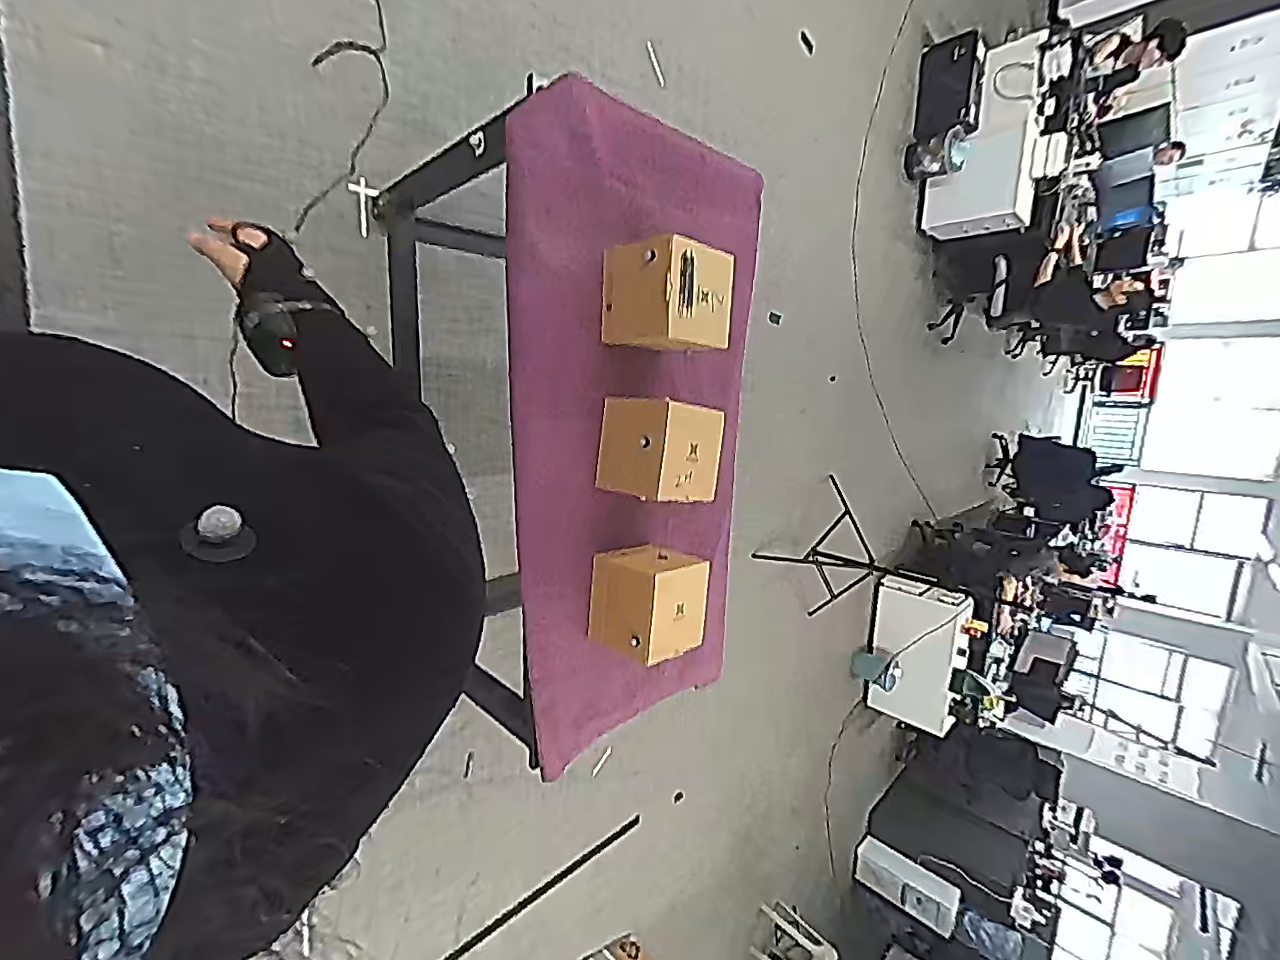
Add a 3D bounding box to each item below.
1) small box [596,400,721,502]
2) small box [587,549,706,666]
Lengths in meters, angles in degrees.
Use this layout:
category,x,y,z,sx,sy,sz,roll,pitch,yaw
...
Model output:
category,x,y,z,sx,sy,sz,roll,pitch,yaw
small box,0.033,-0.057,1.040,0.168,0.176,0.179,4,95,-46
small box,0.011,0.240,1.077,0.168,0.176,0.179,-3,100,-47
